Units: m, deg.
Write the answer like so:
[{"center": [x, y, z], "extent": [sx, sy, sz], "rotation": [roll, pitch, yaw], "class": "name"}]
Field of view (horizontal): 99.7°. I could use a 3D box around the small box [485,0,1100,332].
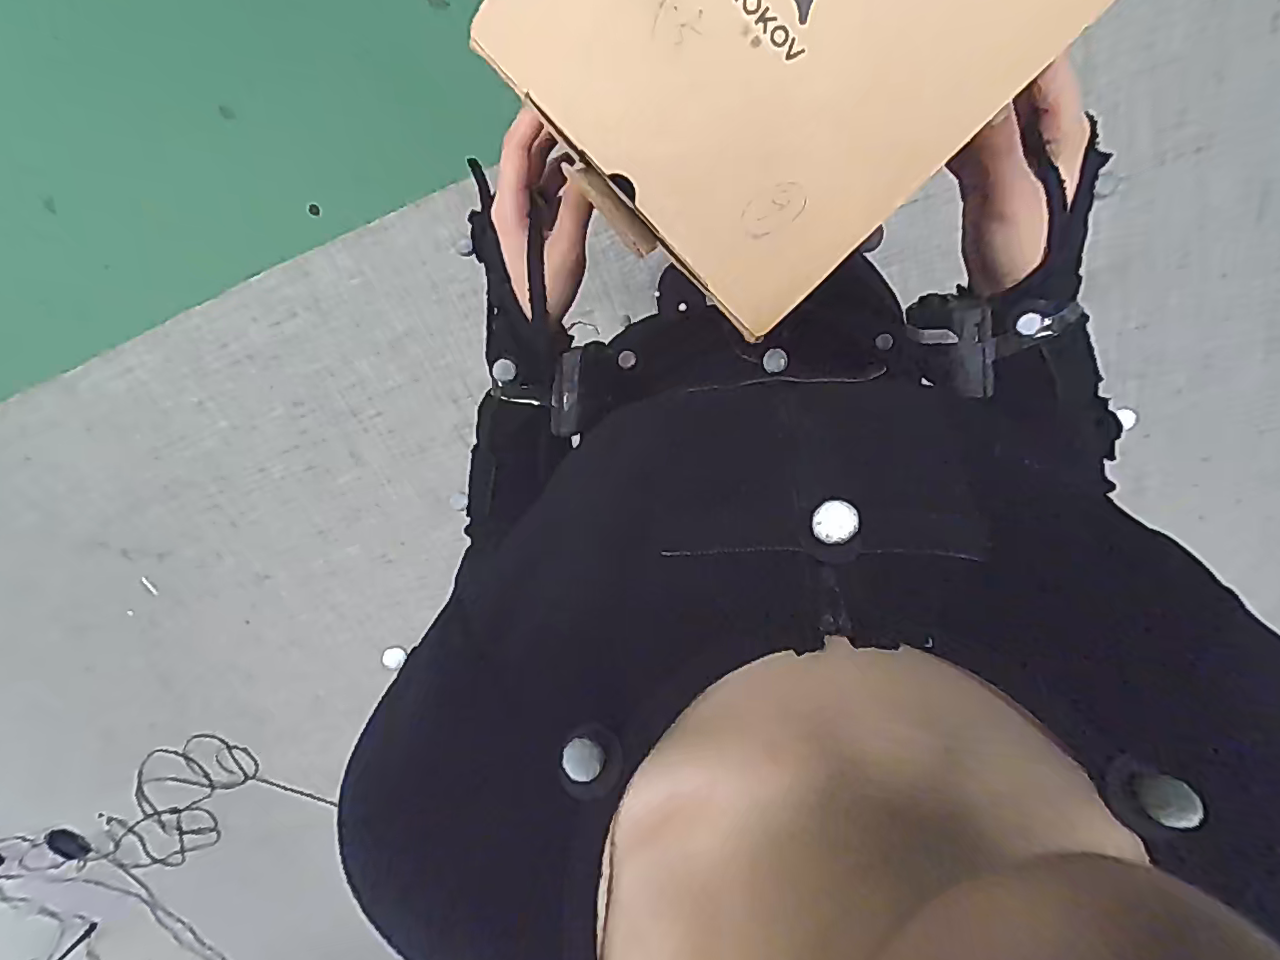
[{"center": [0.063, -0.201, 0.276], "extent": [0.168, 0.176, 0.179], "rotation": [44, 111, -8], "class": "small box"}]
